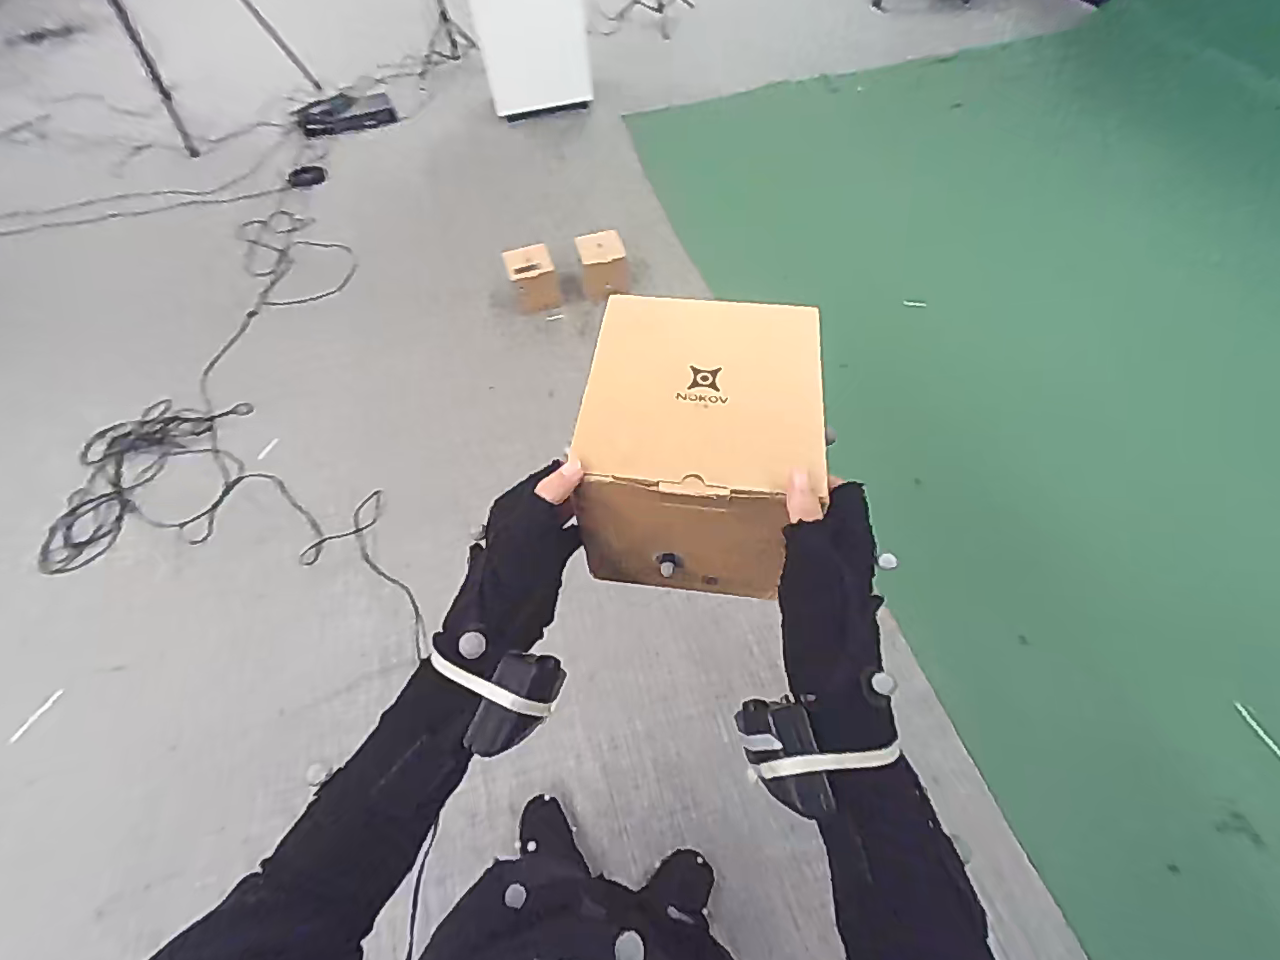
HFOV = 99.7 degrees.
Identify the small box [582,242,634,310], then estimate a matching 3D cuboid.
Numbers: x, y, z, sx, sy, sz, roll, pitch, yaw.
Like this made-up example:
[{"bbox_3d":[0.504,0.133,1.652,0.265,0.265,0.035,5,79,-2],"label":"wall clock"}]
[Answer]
[{"bbox_3d":[-0.124,-0.802,2.133,0.168,0.176,0.179,-15,59,-5],"label":"small box"}]
